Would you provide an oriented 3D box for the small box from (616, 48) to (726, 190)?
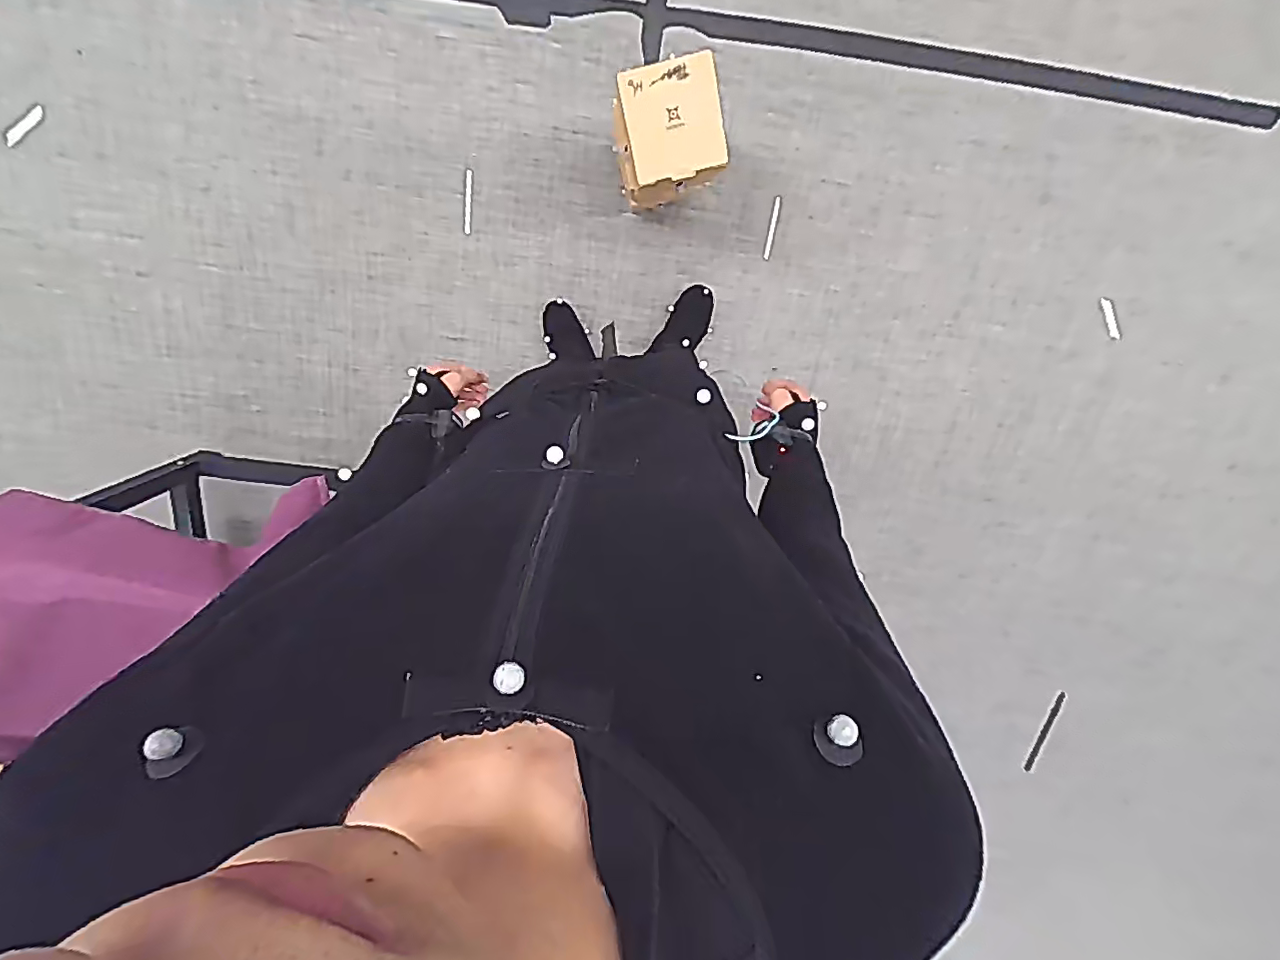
[{"bbox_3d":[0.056,-0.655,1.007,0.168,0.176,0.179,-12,111,3],"label":"small box"}]
